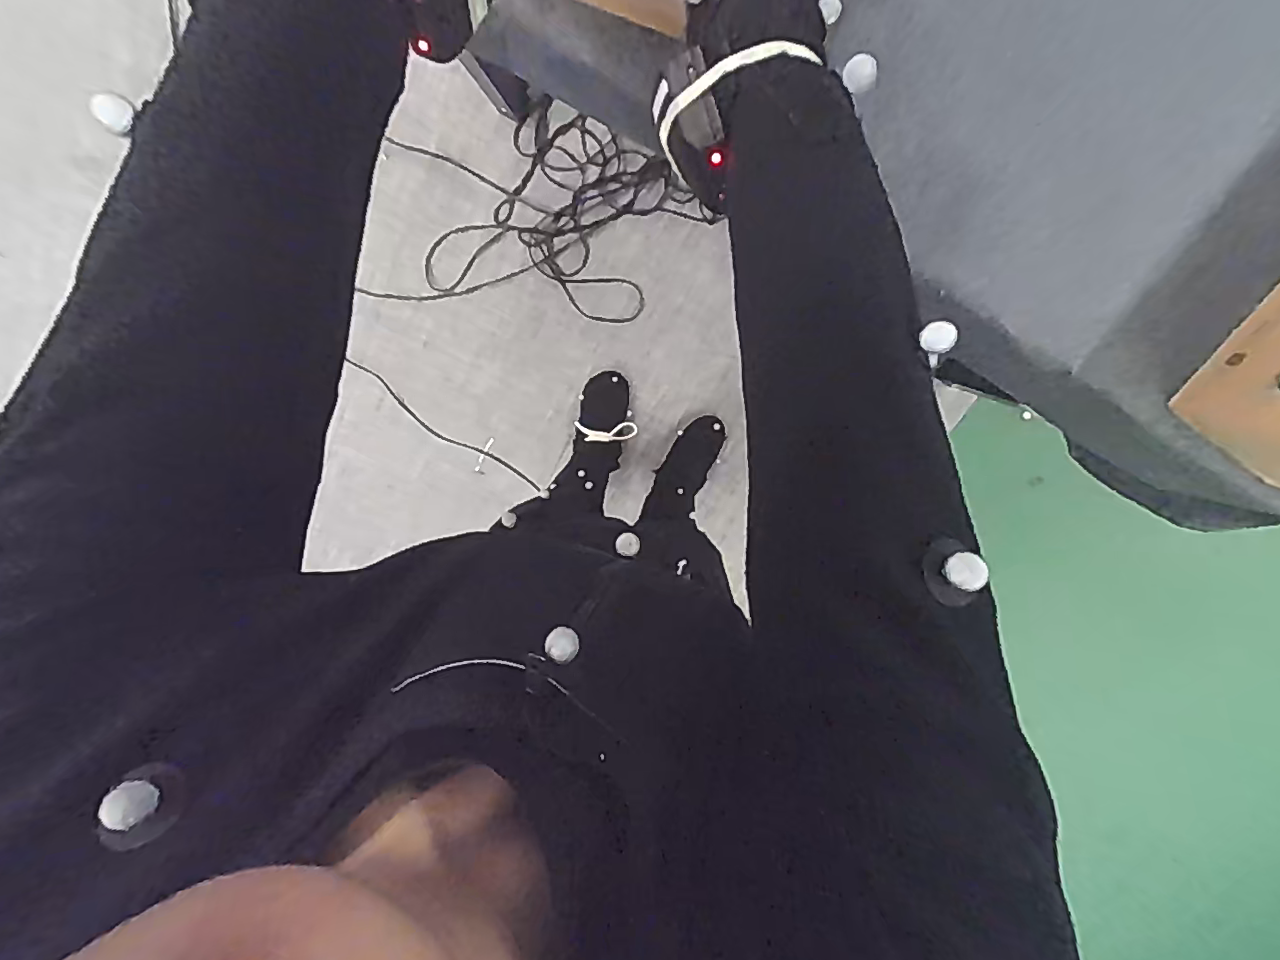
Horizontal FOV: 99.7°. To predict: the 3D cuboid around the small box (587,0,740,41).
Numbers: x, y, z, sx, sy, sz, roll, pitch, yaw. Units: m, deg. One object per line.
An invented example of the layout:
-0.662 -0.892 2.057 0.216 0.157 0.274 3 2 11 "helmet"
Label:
0.014 -0.425 0.343 0.179 0.176 0.168 16 109 -8 "small box"
